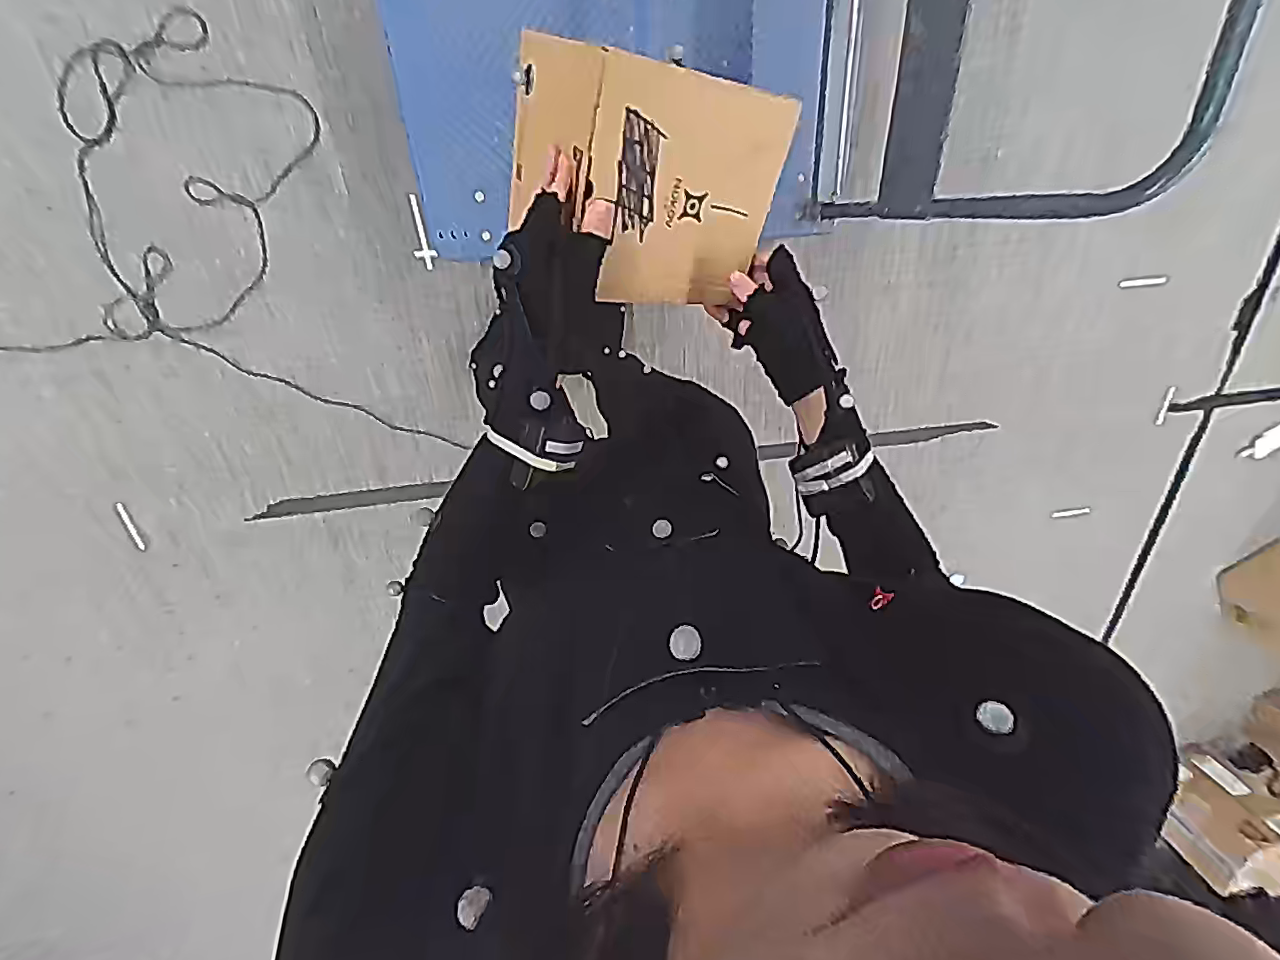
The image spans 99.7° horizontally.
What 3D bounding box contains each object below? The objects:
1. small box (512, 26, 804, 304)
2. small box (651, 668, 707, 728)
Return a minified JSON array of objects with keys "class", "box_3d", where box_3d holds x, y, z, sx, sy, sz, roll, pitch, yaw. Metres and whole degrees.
[{"class":"small box","box_3d":[-0.001,-0.270,0.474,0.179,0.176,0.168,-9,134,-30]},{"class":"small box","box_3d":[0.138,0.807,1.942,0.179,0.176,0.168,-11,119,-7]}]
